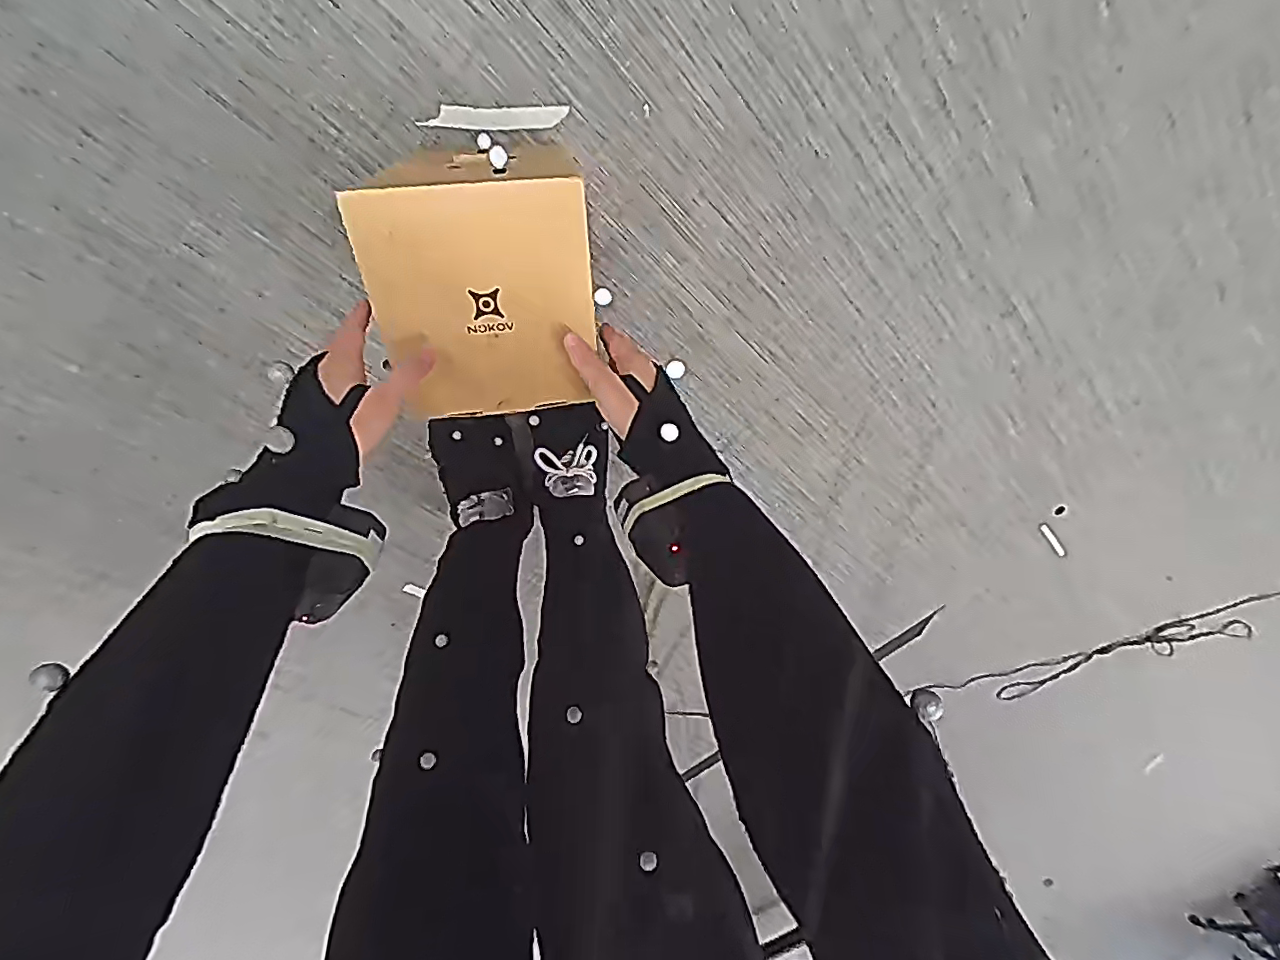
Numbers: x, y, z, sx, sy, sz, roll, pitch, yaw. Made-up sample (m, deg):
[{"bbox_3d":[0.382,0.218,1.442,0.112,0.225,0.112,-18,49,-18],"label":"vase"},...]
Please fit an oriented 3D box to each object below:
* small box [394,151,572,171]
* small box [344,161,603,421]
[{"bbox_3d":[-0.158,-0.267,0.610,0.168,0.176,0.179,-7,125,-7],"label":"small box"},{"bbox_3d":[-0.129,-0.175,0.478,0.168,0.176,0.179,-8,127,-7],"label":"small box"}]
